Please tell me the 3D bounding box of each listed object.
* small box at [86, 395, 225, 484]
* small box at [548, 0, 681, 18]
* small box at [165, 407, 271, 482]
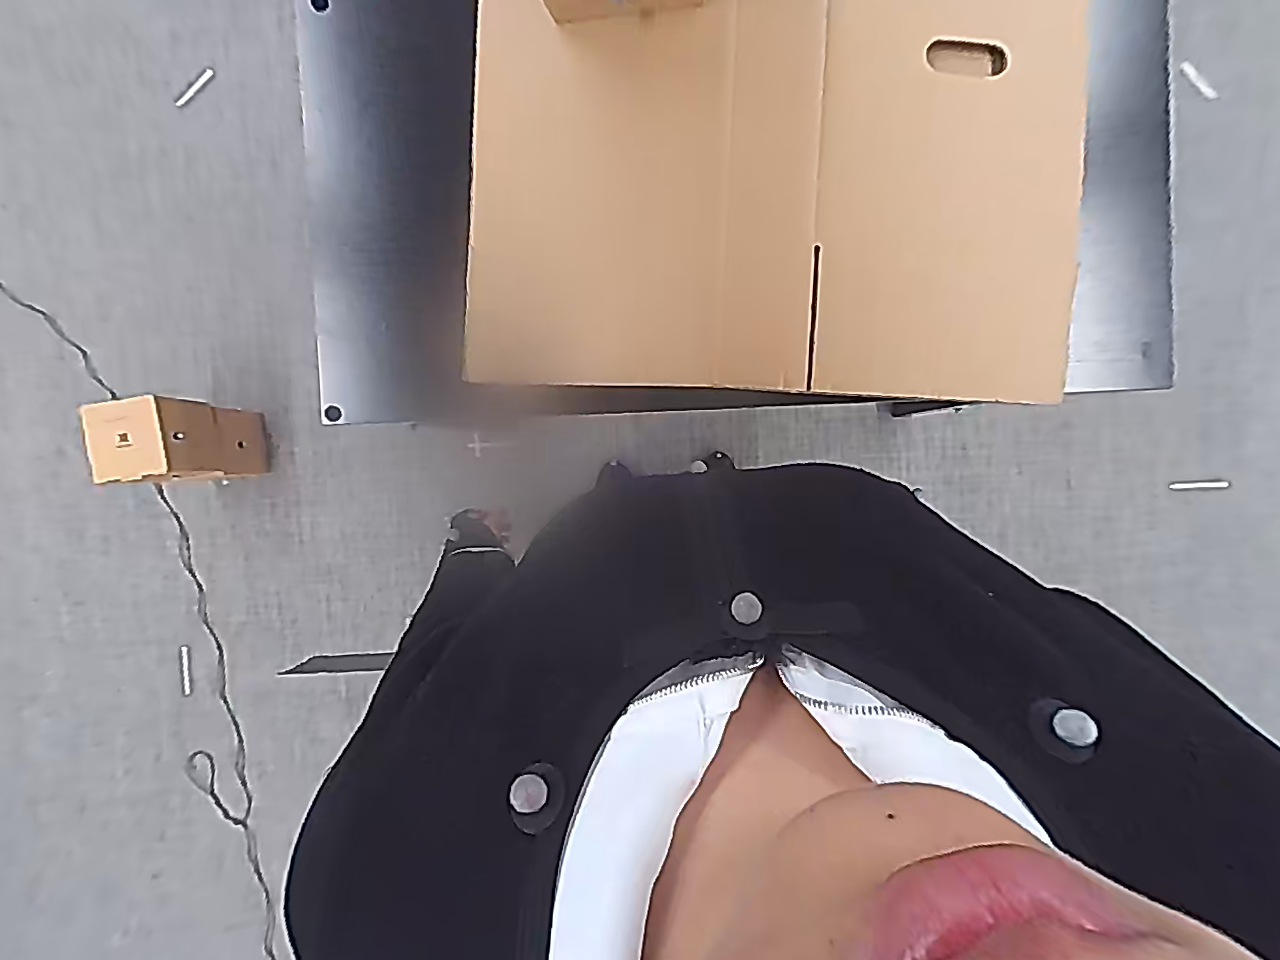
[{"bbox_3d":[-1.120,-0.092,1.265,0.168,0.176,0.179,-9,91,0],"label":"small box"},{"bbox_3d":[-0.027,-0.595,0.516,0.179,0.176,0.168,4,92,13],"label":"small box"},{"bbox_3d":[-1.118,-0.091,1.428,0.168,0.176,0.179,-6,93,1],"label":"small box"}]
